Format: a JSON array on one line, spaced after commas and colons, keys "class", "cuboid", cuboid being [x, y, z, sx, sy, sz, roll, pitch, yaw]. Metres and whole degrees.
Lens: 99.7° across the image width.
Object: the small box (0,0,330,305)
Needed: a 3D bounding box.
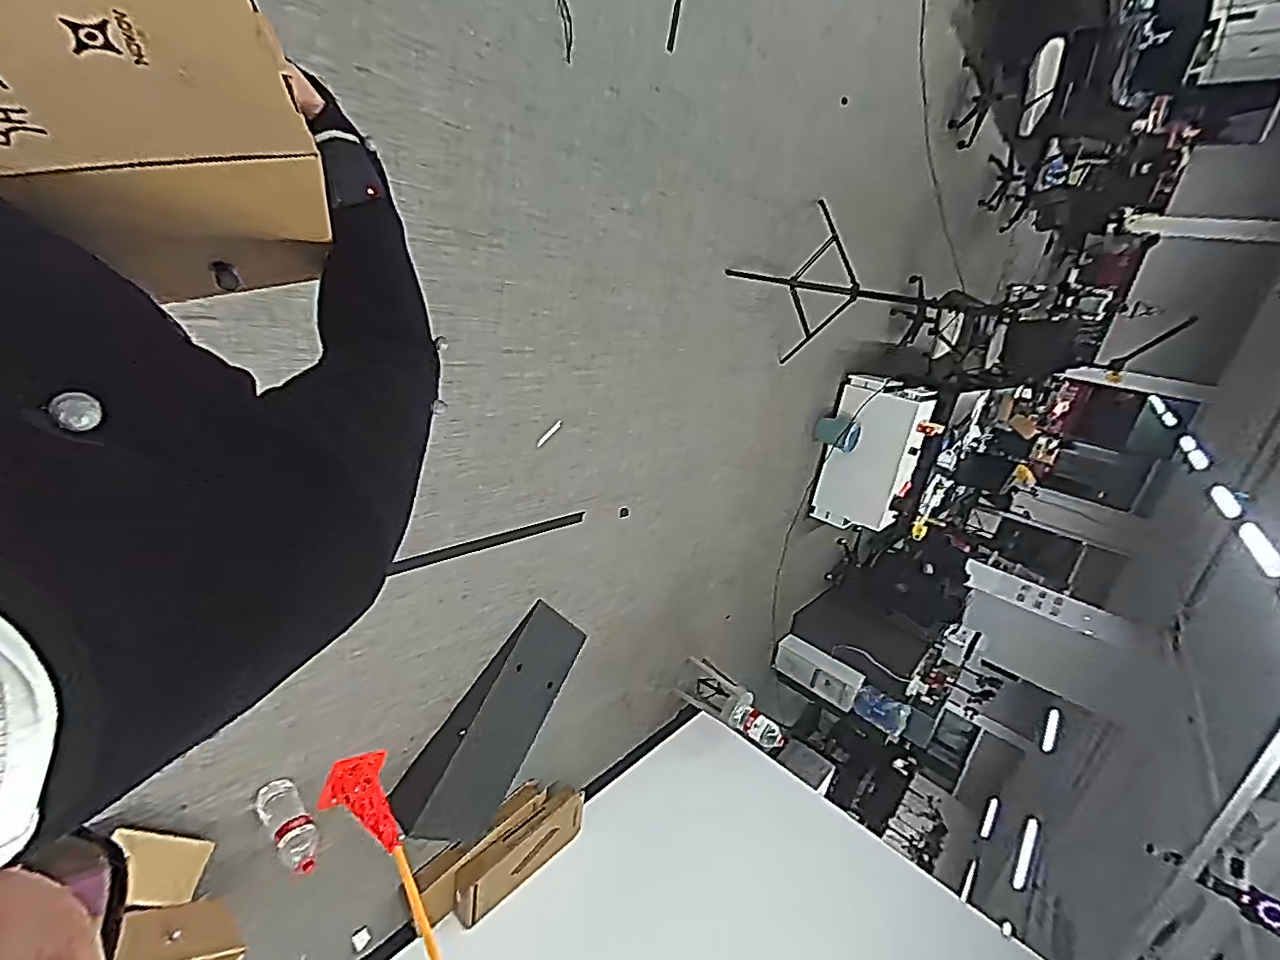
[{"class": "small box", "cuboid": [-0.362, -0.260, 0.420, 0.179, 0.176, 0.168, -23, 90, -27]}]
